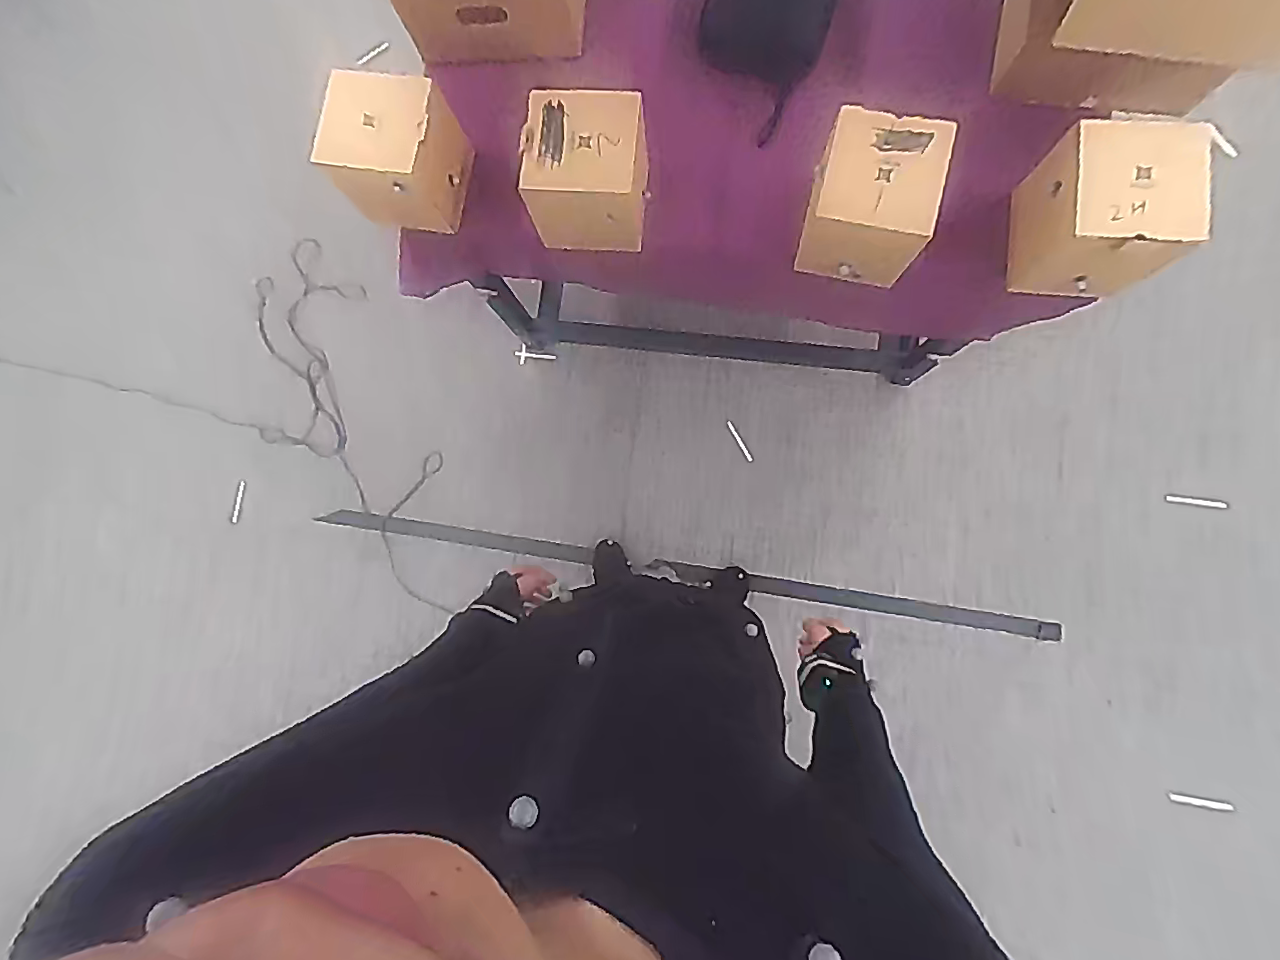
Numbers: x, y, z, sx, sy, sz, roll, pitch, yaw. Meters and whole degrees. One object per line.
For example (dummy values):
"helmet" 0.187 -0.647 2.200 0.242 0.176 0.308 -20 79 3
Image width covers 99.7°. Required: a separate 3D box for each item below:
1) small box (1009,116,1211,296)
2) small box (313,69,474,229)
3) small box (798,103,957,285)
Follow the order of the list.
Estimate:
"small box" 0.687 -0.401 0.811 0.168 0.176 0.179 7 85 7
"small box" -0.412 -0.559 0.931 0.179 0.176 0.168 9 85 5
"small box" 0.359 -0.436 0.847 0.168 0.176 0.179 14 87 7
